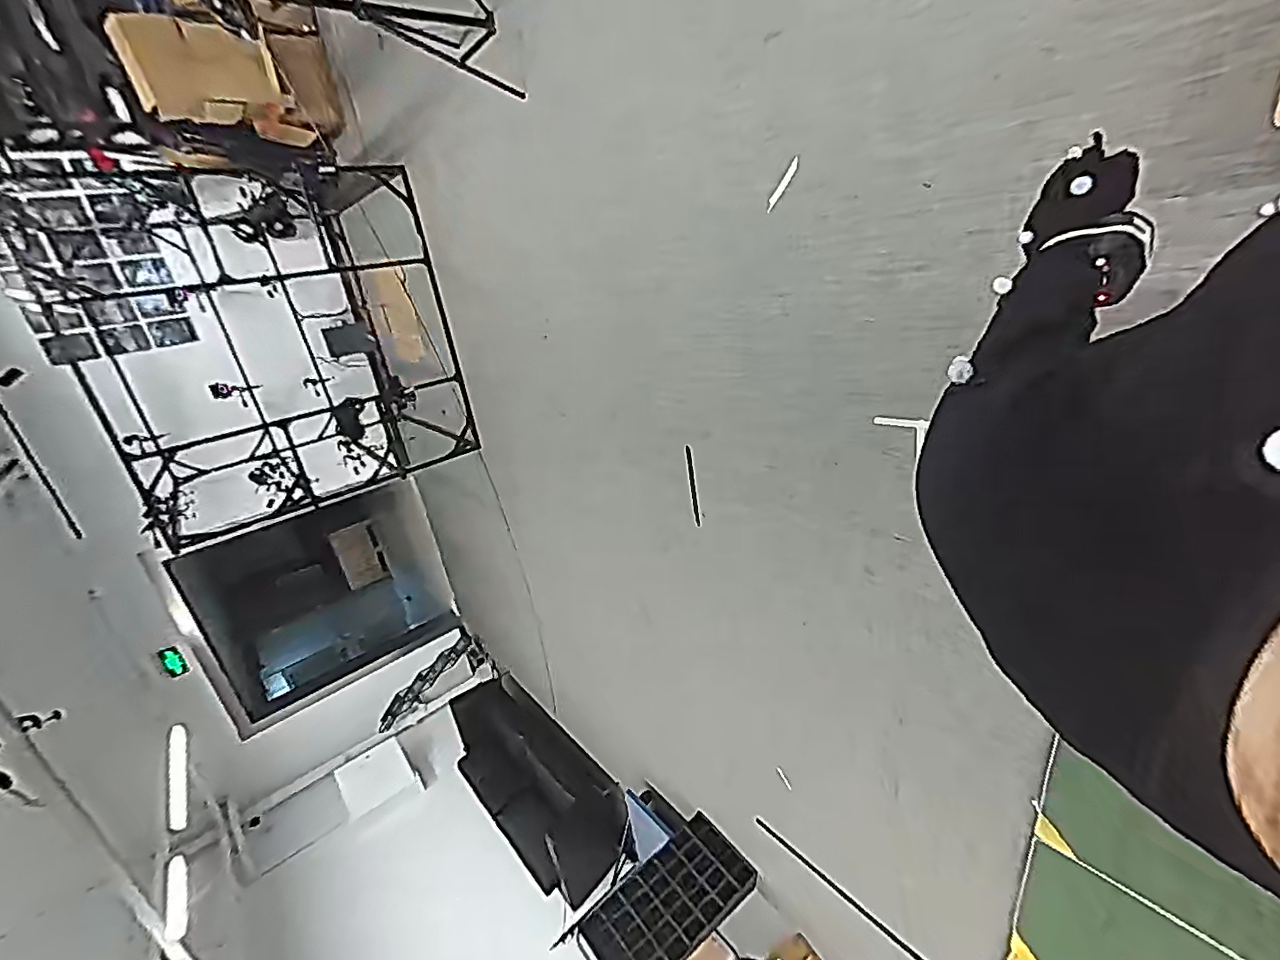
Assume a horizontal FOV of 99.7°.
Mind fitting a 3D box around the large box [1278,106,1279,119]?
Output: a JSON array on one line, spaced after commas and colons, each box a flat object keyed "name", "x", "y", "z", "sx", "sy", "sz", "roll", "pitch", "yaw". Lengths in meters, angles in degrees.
[{"name": "large box", "x": 1.067, "y": -0.639, "z": 0.612, "sx": 0.408, "sy": 0.320, "sz": 0.320, "roll": 15, "pitch": 122, "yaw": 49}]
